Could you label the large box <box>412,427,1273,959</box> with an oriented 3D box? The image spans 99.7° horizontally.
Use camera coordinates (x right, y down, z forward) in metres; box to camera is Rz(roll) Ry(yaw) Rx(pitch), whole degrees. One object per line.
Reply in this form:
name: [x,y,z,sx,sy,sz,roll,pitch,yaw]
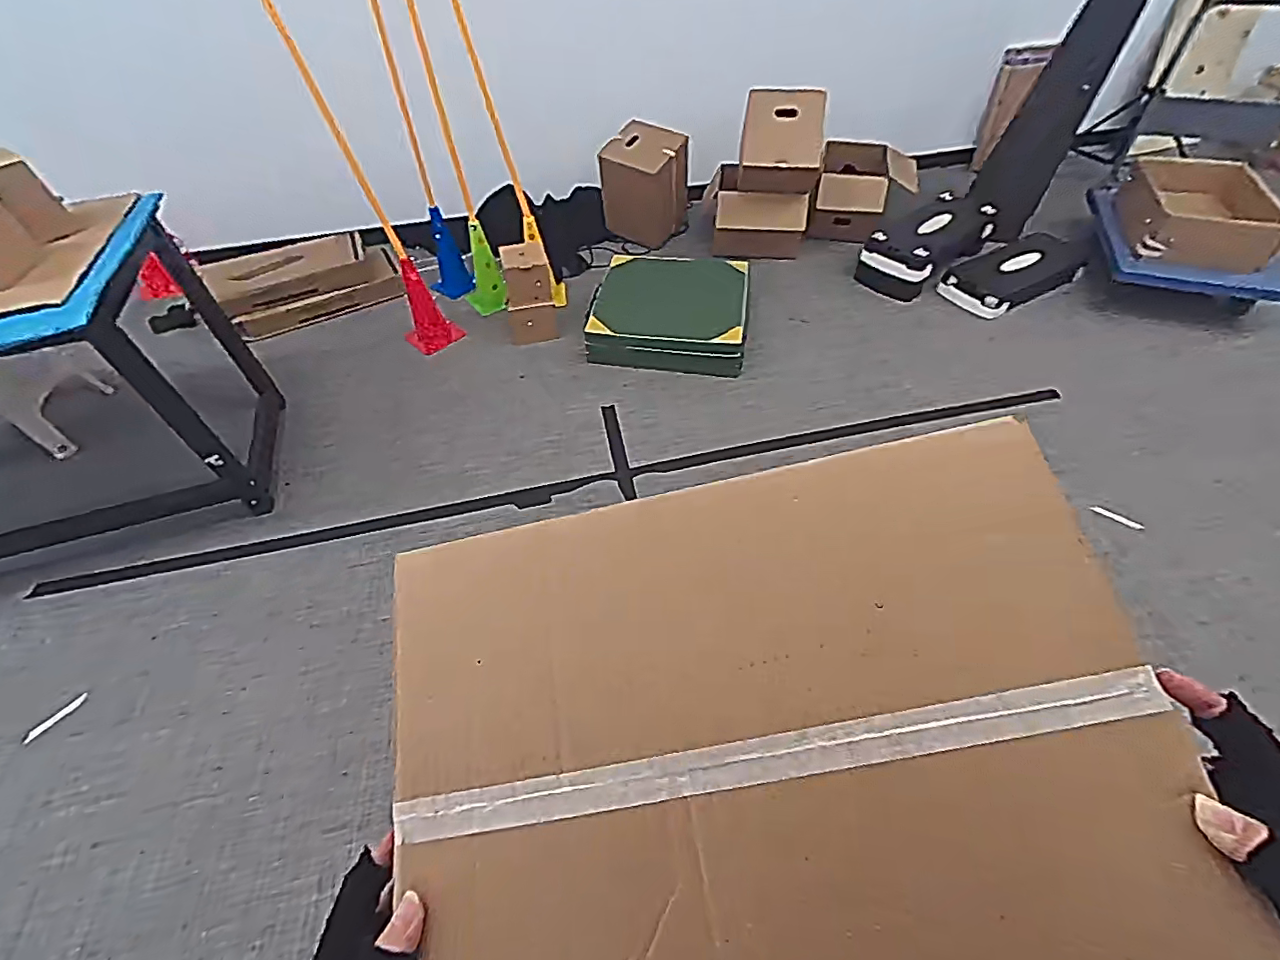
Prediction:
large box: [0.089,0.201,0.433,0.408,0.320,0.320,-13,67,6]
